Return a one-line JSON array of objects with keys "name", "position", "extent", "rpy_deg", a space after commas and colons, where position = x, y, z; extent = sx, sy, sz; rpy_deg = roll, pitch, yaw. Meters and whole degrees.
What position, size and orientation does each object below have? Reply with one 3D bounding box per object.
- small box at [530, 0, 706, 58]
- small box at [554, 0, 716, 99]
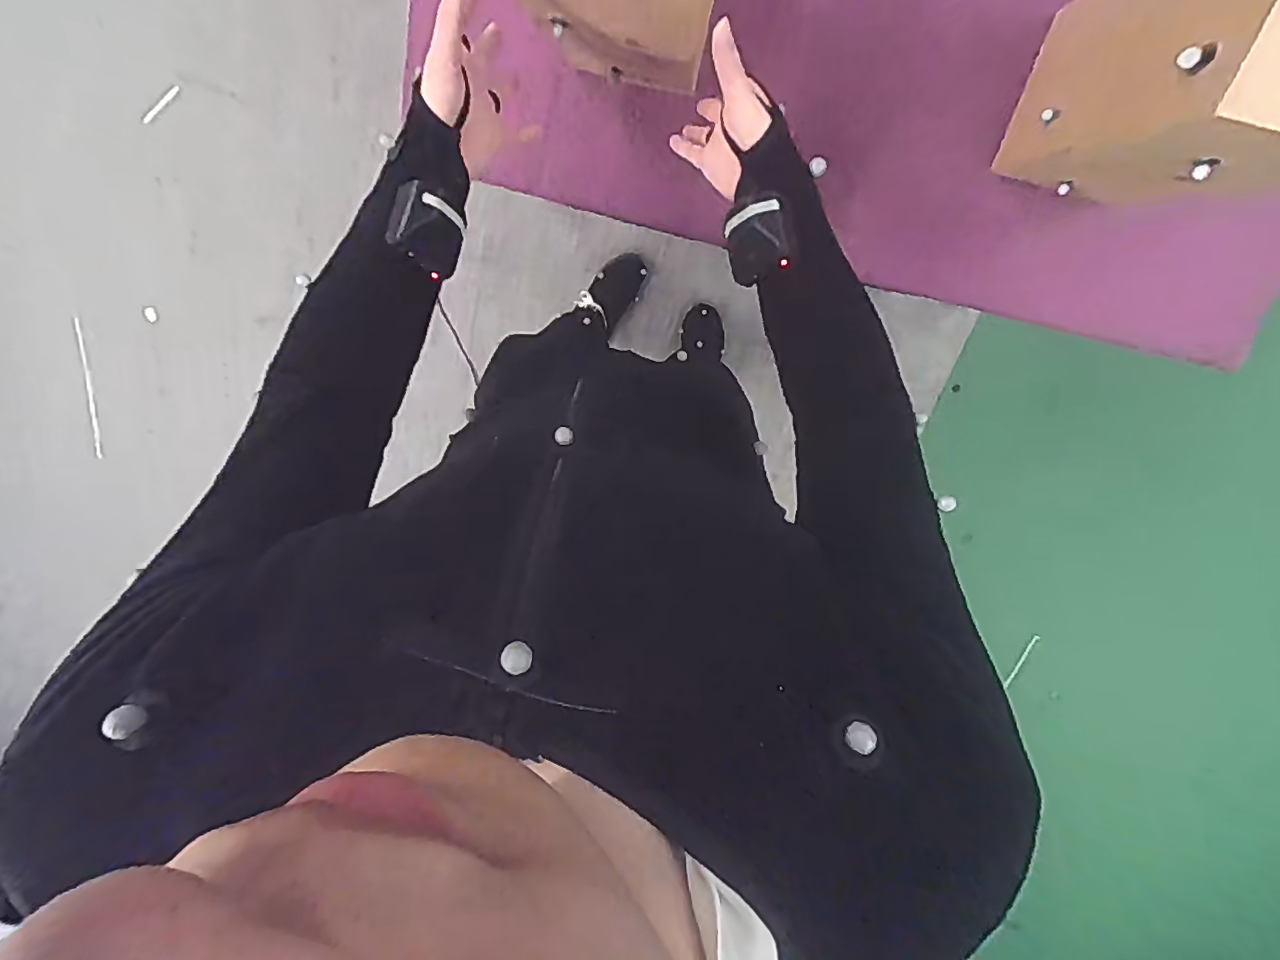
[{"name": "small box", "position": [-0.014, -0.485, 0.437], "extent": [0.168, 0.176, 0.179], "rpy_deg": [13, 110, -1]}, {"name": "small box", "position": [0.001, -0.554, 0.585], "extent": [0.168, 0.176, 0.179], "rpy_deg": [13, 112, -1]}]
